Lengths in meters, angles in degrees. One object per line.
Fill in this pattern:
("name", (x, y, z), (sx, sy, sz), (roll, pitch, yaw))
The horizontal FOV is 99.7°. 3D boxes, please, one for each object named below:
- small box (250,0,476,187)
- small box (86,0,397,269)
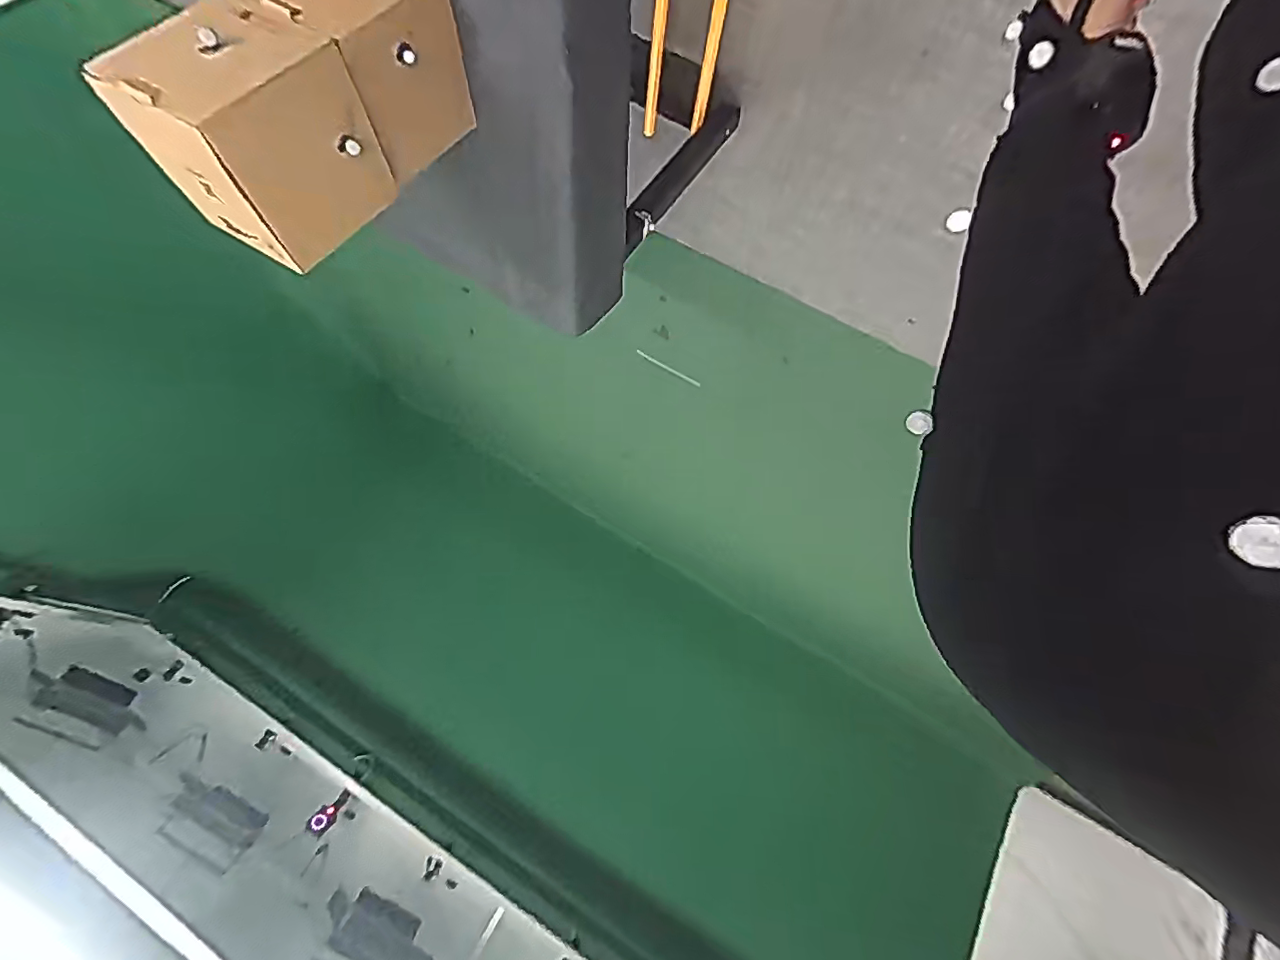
("small box", (-0.328, -0.510, 0.655), (0.168, 0.176, 0.179), (31, 159, 10))
("small box", (-0.410, -0.380, 0.594), (0.168, 0.176, 0.179), (30, 158, 12))
